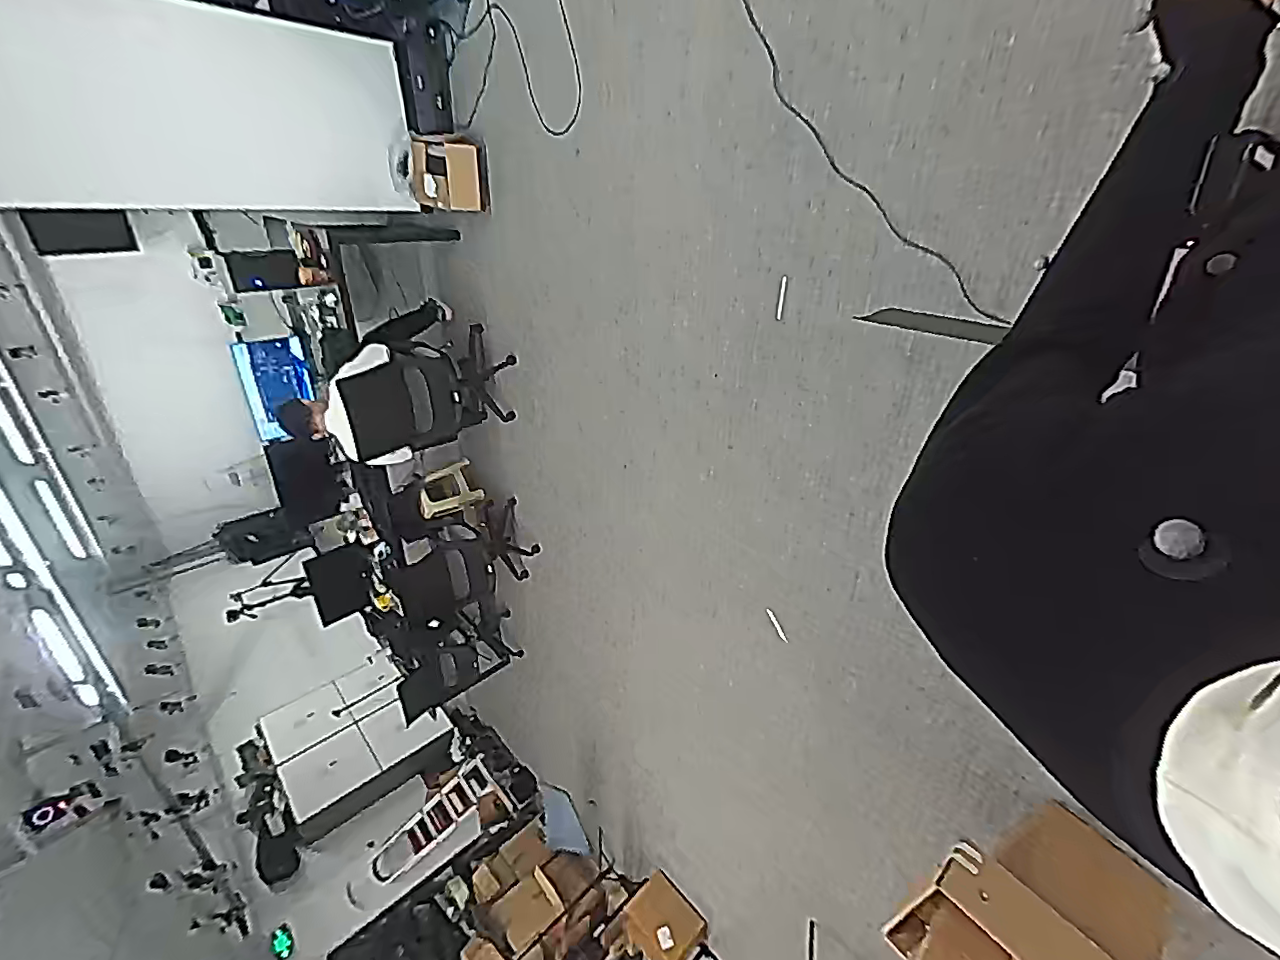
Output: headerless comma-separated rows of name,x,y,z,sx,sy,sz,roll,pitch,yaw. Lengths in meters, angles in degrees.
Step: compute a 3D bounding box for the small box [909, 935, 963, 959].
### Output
small box,0.763,1.310,1.355,0.179,0.176,0.168,33,132,35
